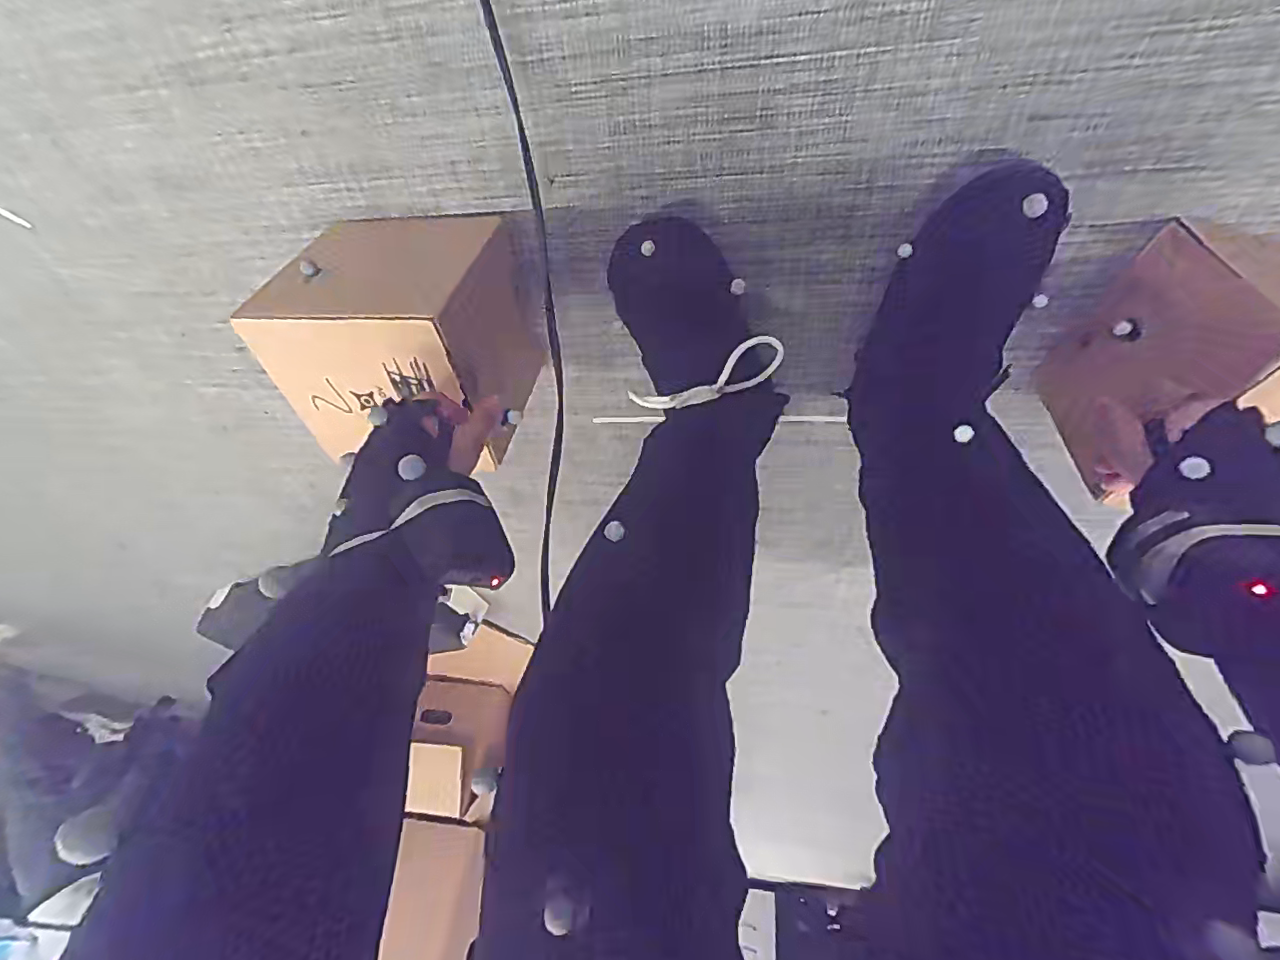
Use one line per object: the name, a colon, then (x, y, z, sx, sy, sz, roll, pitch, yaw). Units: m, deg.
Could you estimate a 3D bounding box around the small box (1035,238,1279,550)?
small box: (0.476, -0.068, 0.435, 0.179, 0.176, 0.168, 11, 140, -1)
